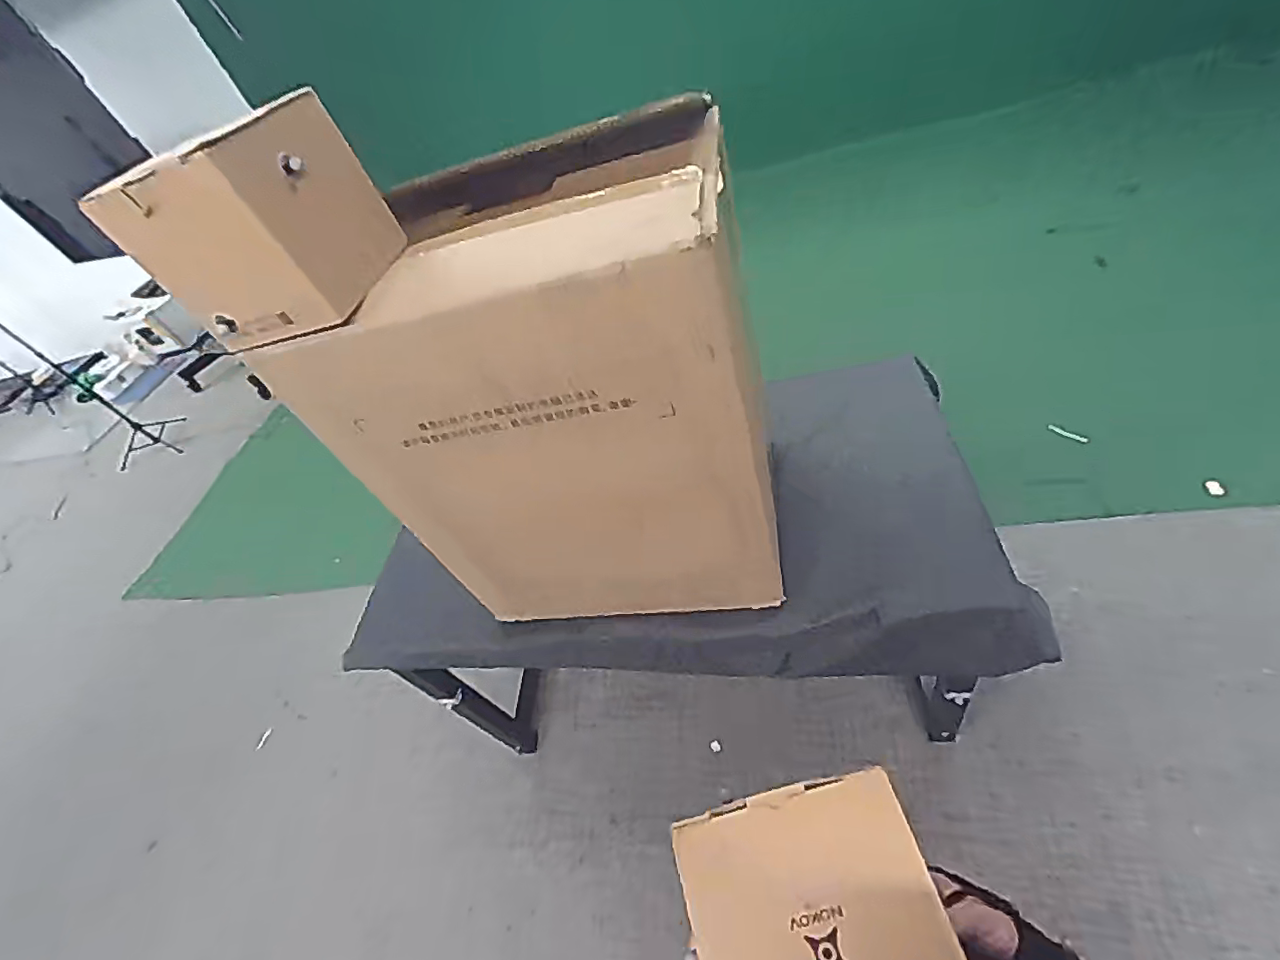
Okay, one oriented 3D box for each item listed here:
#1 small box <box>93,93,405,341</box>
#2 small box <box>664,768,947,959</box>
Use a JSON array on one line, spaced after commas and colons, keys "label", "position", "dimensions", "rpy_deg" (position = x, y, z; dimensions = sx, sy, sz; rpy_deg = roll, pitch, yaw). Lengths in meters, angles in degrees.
[{"label": "small box", "position": [-0.388, -0.265, 0.575], "dimensions": [0.168, 0.176, 0.179], "rpy_deg": [-7, 47, 18]}, {"label": "small box", "position": [0.122, 0.344, 0.422], "dimensions": [0.168, 0.176, 0.179], "rpy_deg": [-15, 58, 2]}]
